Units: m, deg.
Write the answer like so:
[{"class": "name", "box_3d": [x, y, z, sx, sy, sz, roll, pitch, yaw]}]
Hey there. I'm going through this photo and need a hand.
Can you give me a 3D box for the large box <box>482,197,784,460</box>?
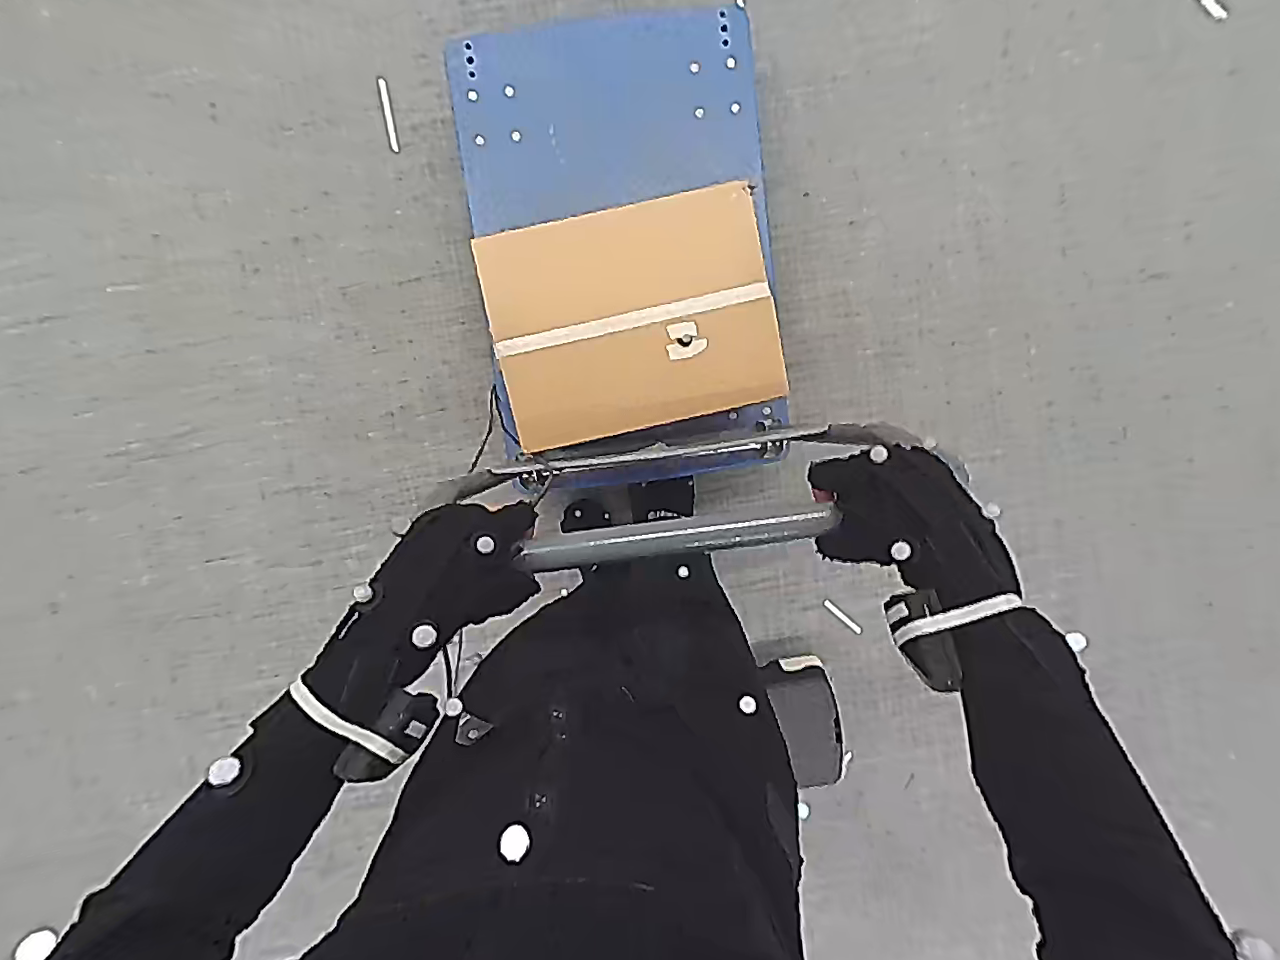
[{"class": "large box", "box_3d": [-0.012, -0.236, 0.950, 0.408, 0.320, 0.320, -13, 97, -1]}]
